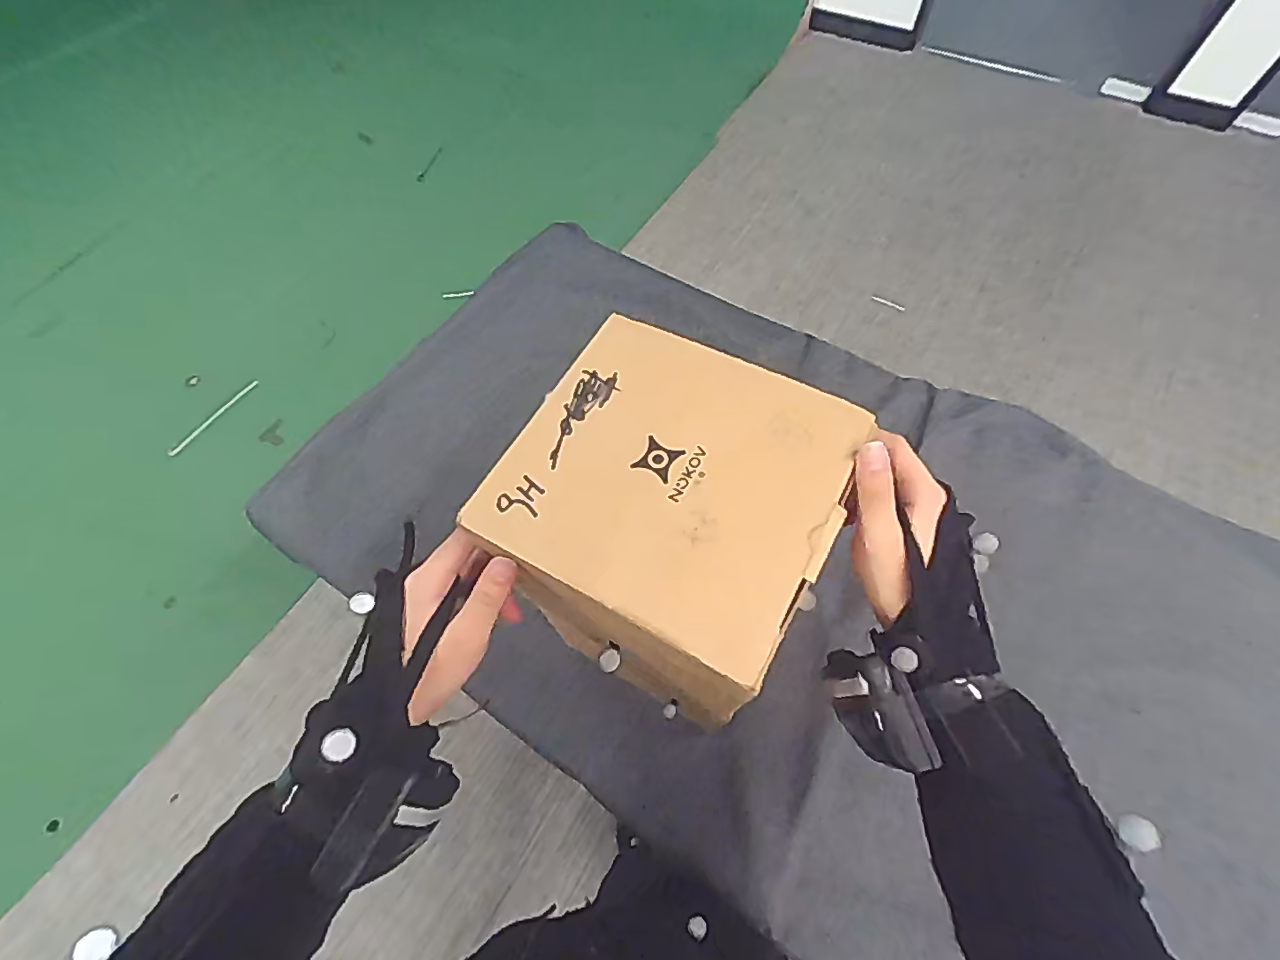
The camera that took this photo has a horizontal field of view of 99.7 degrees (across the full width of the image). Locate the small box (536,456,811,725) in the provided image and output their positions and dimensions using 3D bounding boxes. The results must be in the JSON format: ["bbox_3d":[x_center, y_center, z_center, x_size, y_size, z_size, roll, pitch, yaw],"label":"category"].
[{"bbox_3d":[0.033,0.112,0.512,0.179,0.176,0.168,26,66,16],"label":"small box"}]
